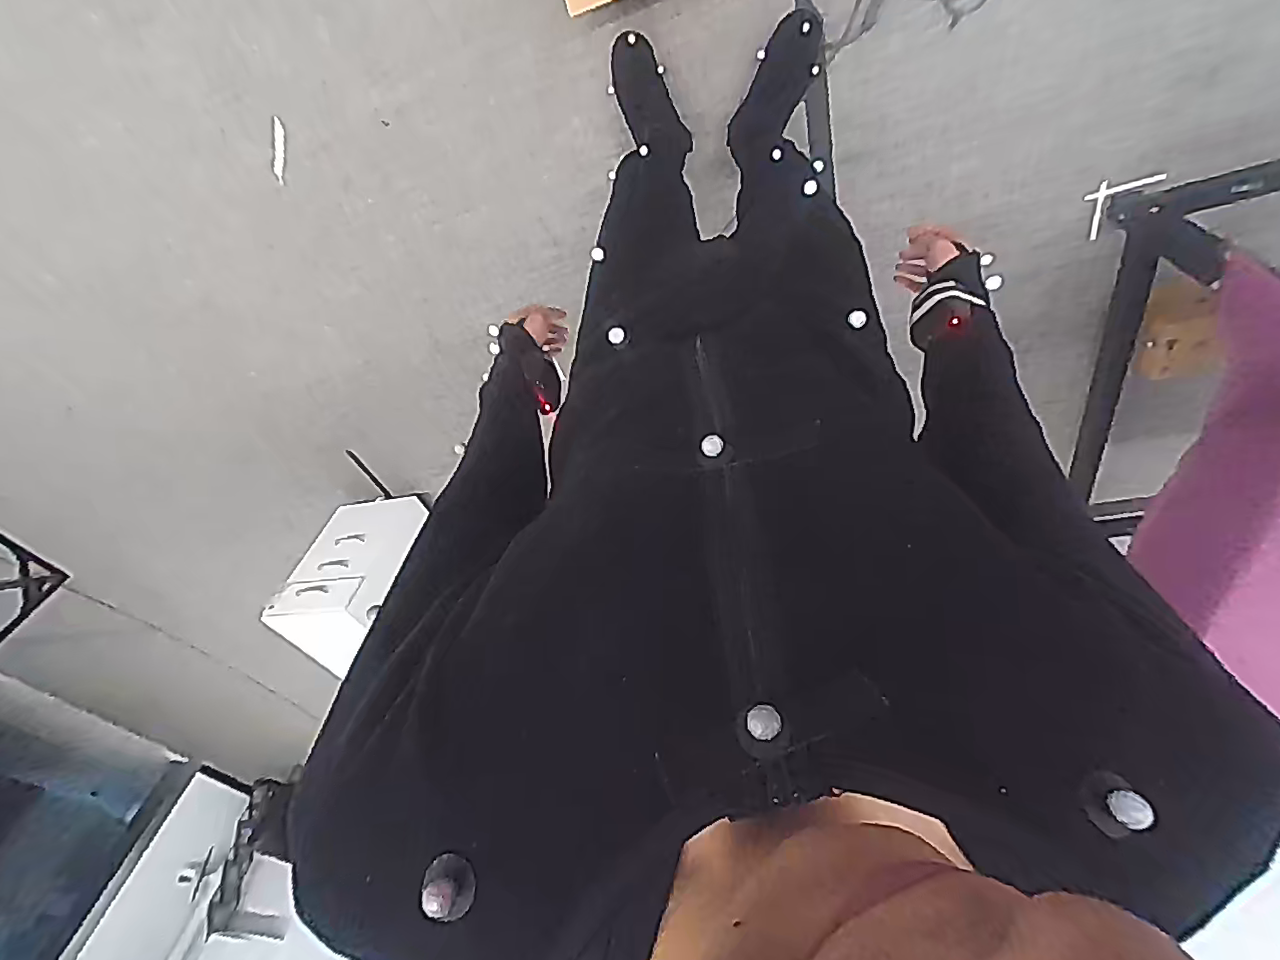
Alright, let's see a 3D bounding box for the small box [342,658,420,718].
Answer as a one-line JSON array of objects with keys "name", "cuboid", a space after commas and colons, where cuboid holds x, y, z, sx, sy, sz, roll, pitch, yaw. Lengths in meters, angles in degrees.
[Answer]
[{"name": "small box", "cuboid": [-0.990, 0.801, 2.082, 0.179, 0.176, 0.168, -8, 132, 19]}]
